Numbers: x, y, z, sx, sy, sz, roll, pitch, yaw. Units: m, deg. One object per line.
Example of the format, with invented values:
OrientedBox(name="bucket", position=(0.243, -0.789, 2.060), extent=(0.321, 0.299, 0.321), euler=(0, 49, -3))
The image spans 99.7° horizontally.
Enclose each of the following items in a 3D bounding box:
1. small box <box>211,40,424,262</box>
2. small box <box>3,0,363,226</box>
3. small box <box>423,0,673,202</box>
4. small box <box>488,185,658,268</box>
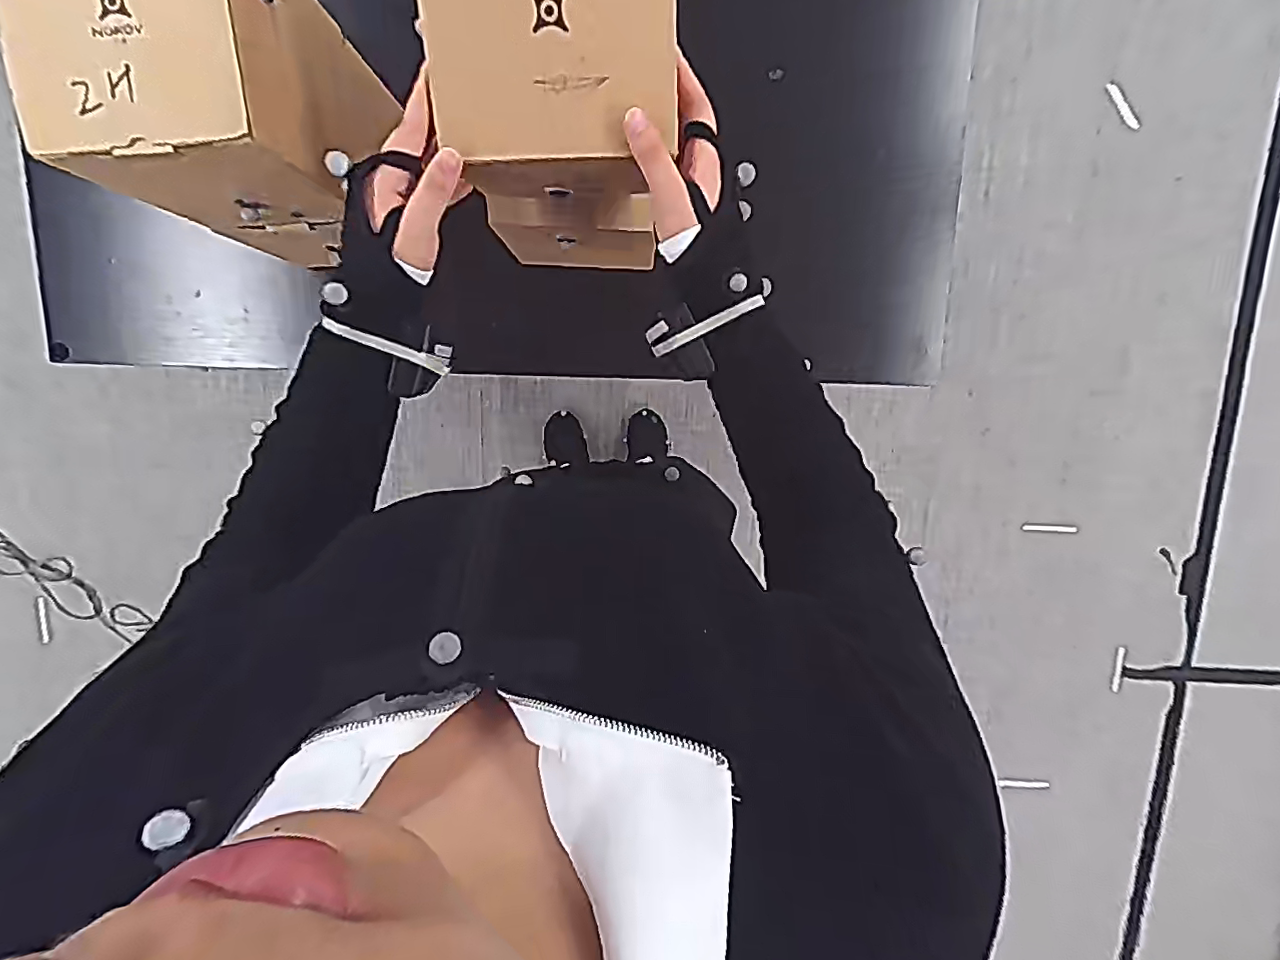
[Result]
OrientedBox(name="small box", position=(-0.367, -0.360, 0.628), extent=(0.168, 0.176, 0.179), euler=(-3, 99, 0))
OrientedBox(name="small box", position=(-0.366, -0.340, 0.463), extent=(0.168, 0.176, 0.179), euler=(-4, 98, 1))
OrientedBox(name="small box", position=(-0.064, -0.336, 0.431), extent=(0.168, 0.176, 0.179), euler=(-3, 108, -1))
OrientedBox(name="small box", position=(-0.067, -0.353, 0.629), extent=(0.179, 0.176, 0.168), euler=(2, 98, -1))
